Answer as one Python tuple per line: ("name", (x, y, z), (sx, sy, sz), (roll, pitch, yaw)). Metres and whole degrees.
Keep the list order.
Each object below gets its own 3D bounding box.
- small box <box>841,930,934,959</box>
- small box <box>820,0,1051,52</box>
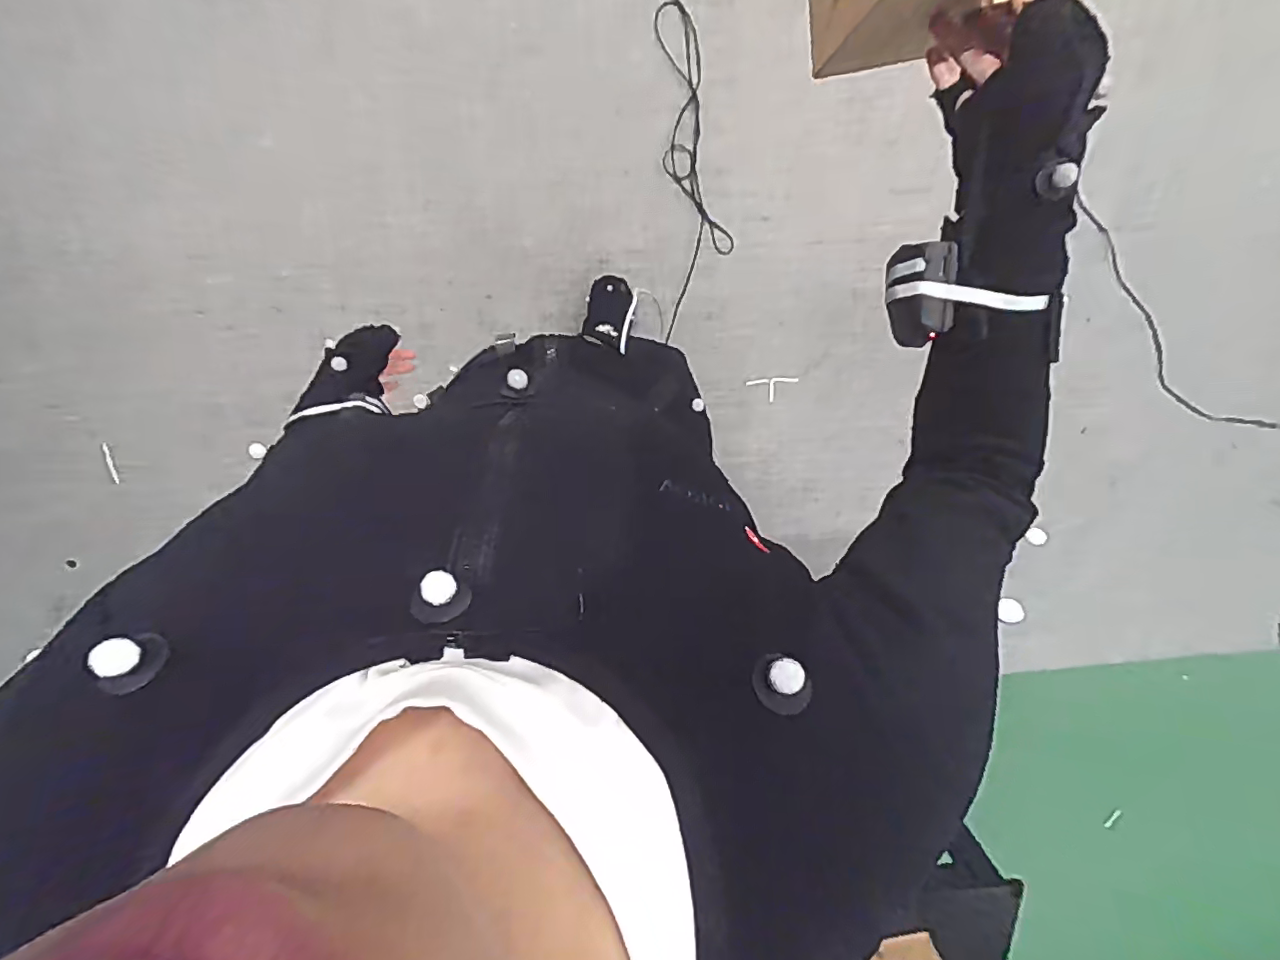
("small box", (0.487, 0.989, 1.000), (0.168, 0.176, 0.179), (-11, 107, 0))
("small box", (0.217, -0.408, 0.341), (0.168, 0.176, 0.179), (-9, 110, 3))
